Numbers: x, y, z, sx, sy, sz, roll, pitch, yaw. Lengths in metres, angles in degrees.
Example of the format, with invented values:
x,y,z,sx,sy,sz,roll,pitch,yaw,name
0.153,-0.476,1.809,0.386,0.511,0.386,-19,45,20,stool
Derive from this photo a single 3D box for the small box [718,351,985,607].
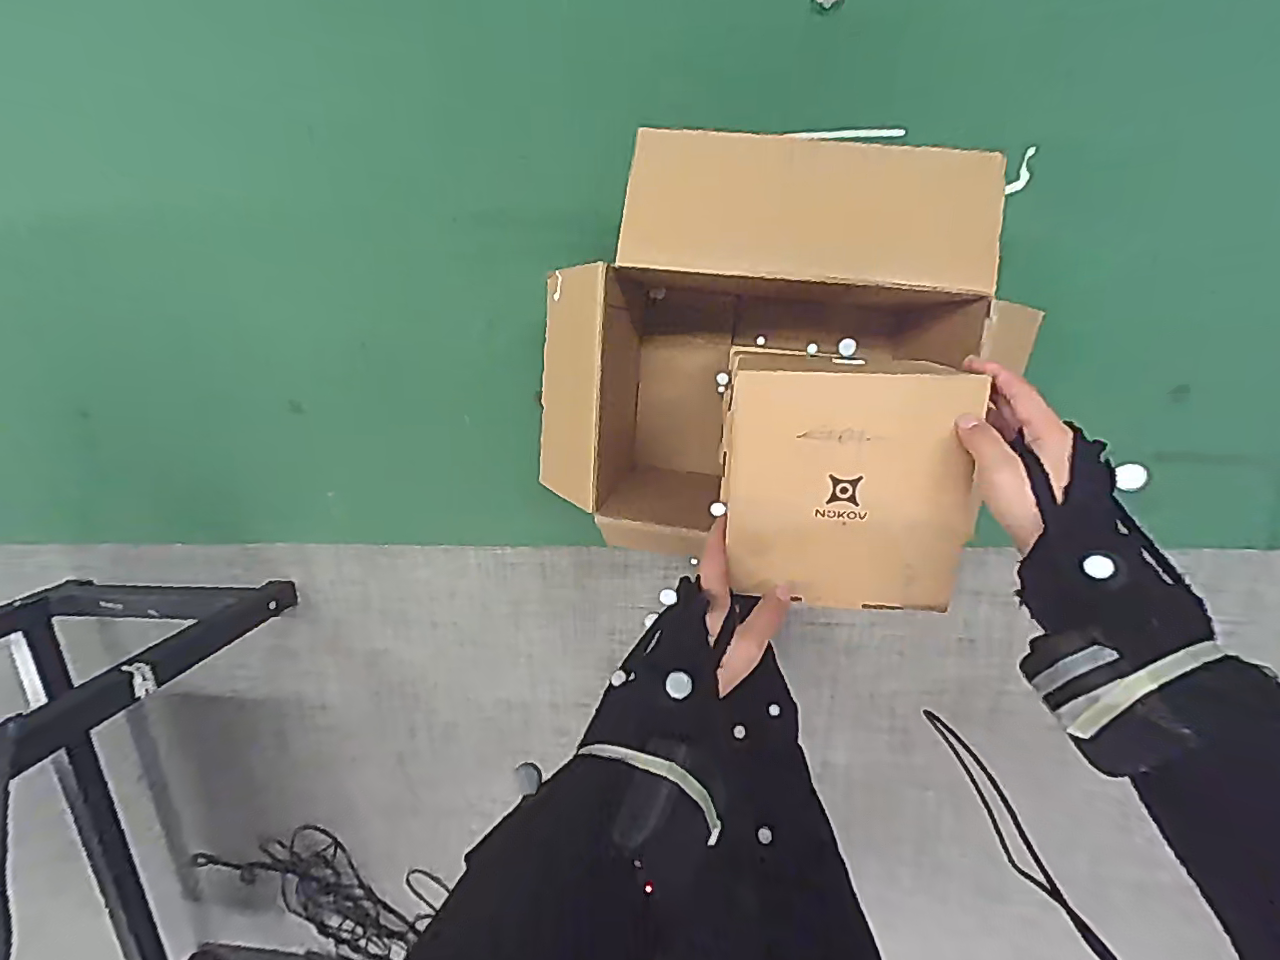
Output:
x,y,z,sx,sy,sz,roll,pitch,yaw,name
0.157,-0.016,0.461,0.168,0.176,0.179,3,105,10,small box
